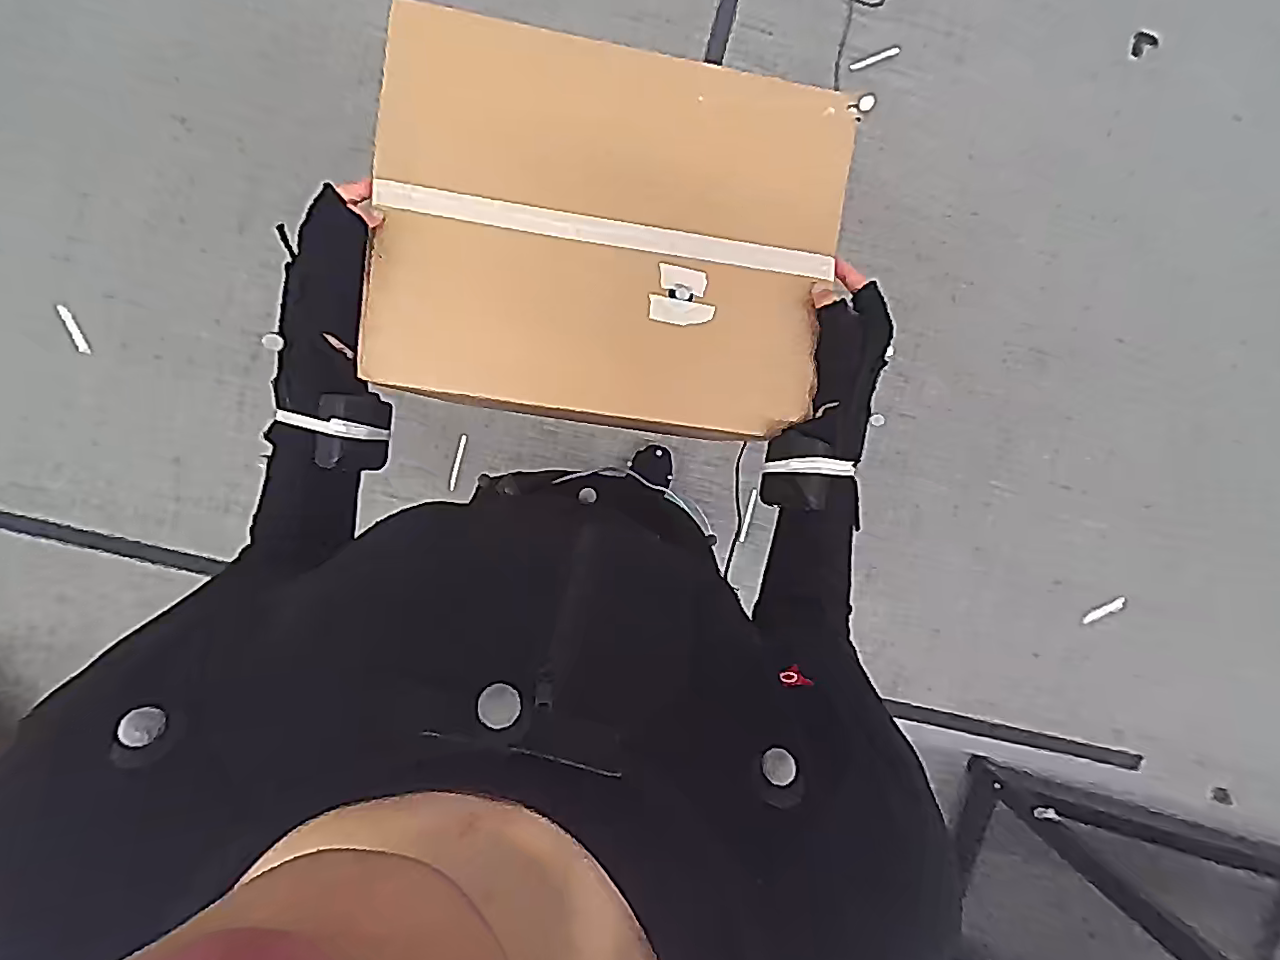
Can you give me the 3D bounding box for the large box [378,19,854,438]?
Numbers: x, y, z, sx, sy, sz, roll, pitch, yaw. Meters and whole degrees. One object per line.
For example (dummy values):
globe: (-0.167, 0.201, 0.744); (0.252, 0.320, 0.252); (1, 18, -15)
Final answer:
large box: (-0.034, -0.227, 0.631); (0.408, 0.320, 0.320); (8, 95, -7)
